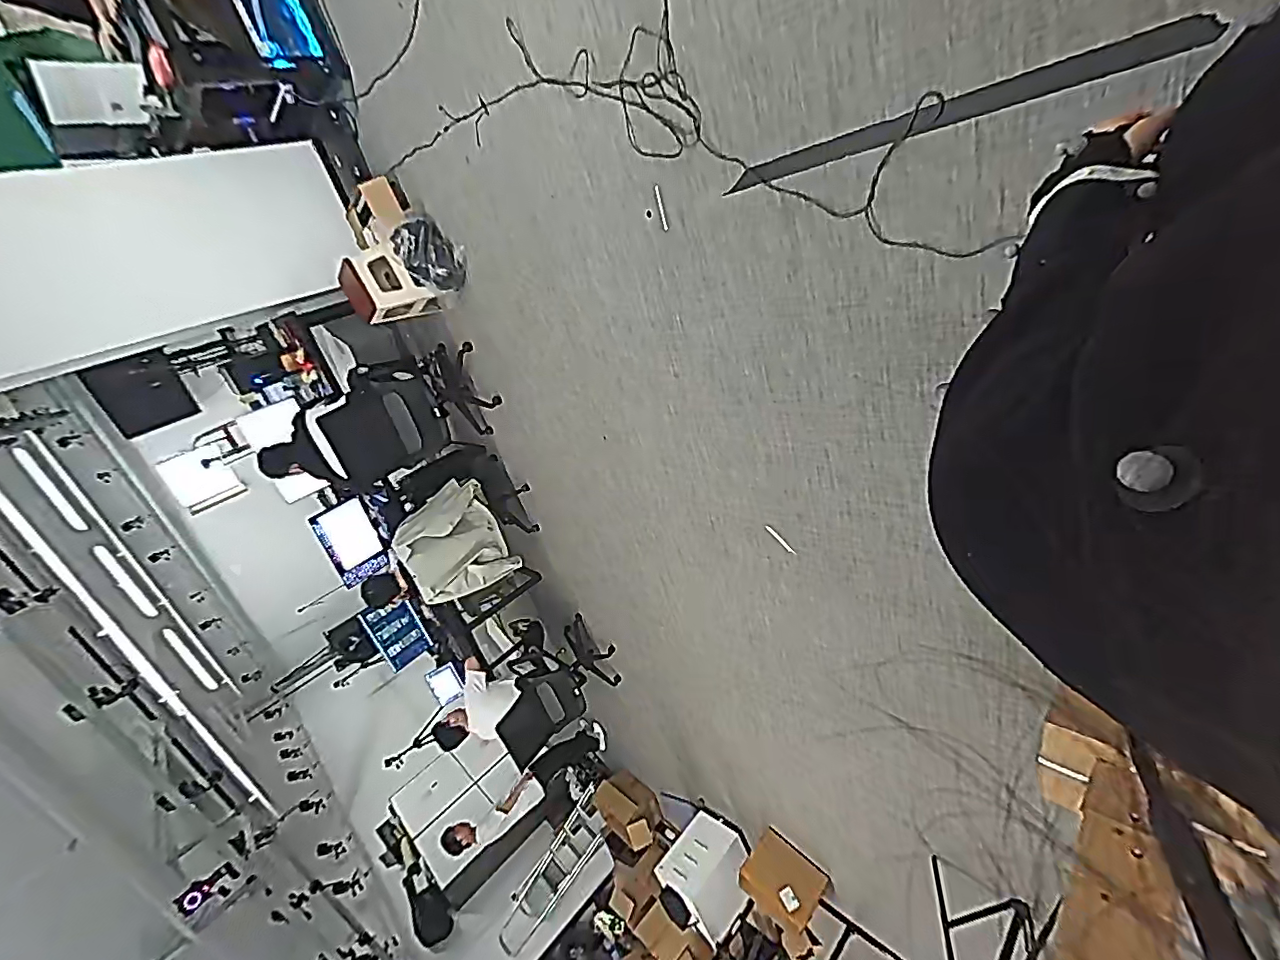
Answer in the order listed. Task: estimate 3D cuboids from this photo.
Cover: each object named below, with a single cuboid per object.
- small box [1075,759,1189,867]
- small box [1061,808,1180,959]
[{"bbox_3d":[1.151,0.799,1.268,0.179,0.176,0.168,10,125,48],"label":"small box"},{"bbox_3d":[1.040,0.869,1.172,0.168,0.176,0.179,10,124,47],"label":"small box"}]
